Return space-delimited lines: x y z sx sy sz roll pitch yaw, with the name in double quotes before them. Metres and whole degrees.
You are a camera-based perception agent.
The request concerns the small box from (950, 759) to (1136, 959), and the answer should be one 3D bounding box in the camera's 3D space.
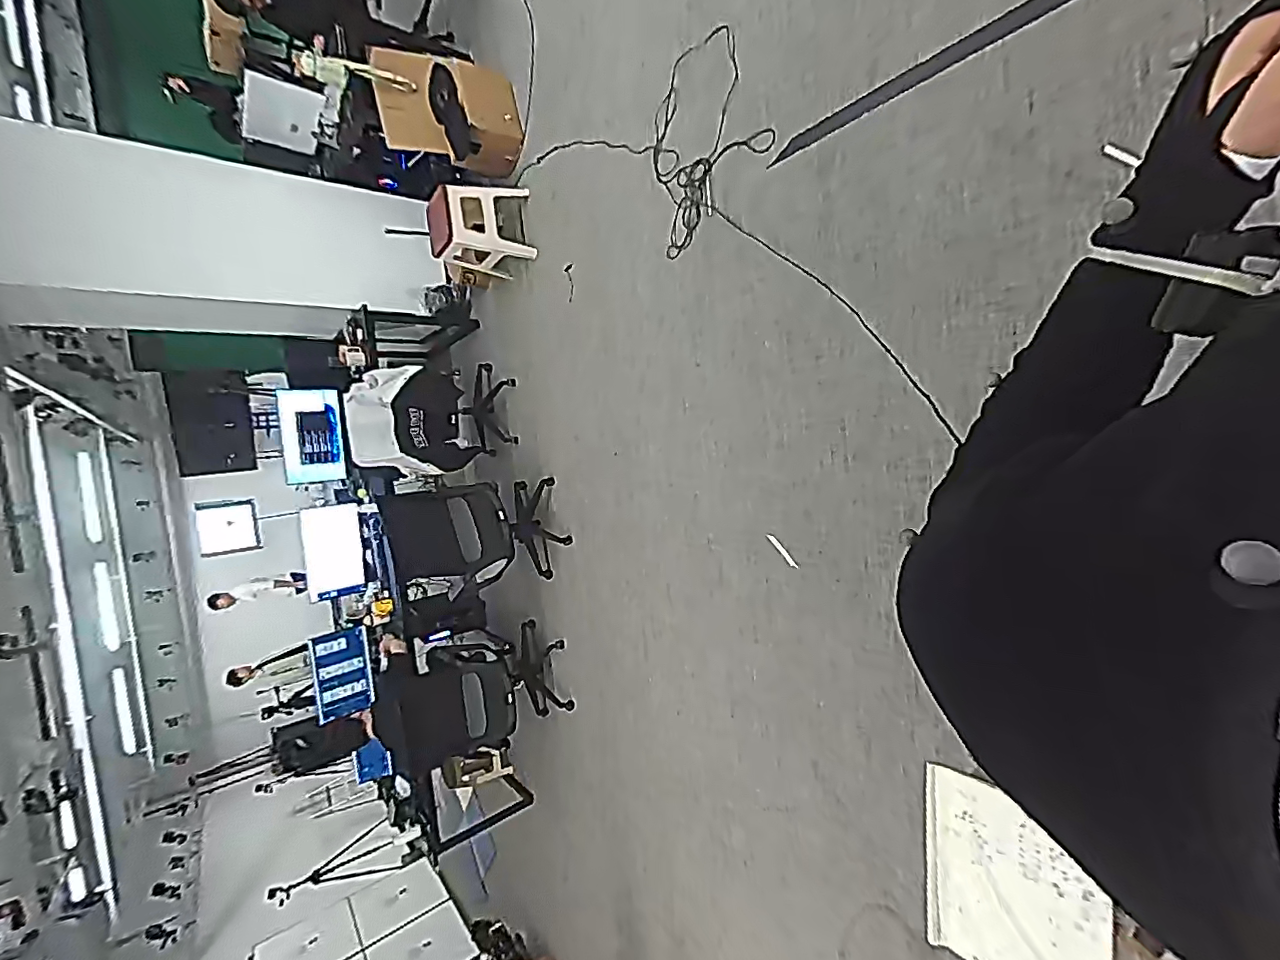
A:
"small box" 0.550 0.527 0.740 0.168 0.176 0.179 3 98 54
